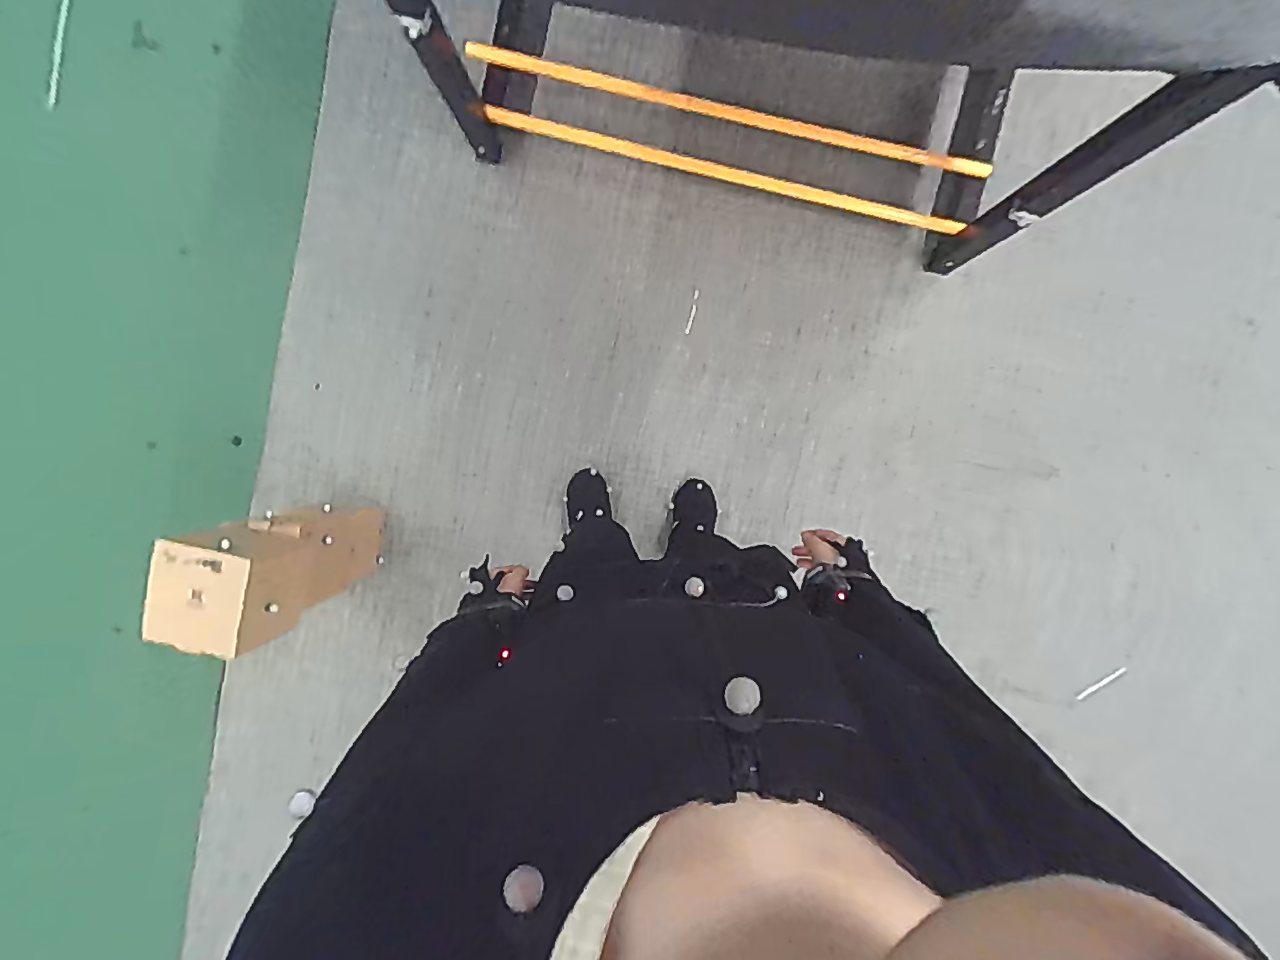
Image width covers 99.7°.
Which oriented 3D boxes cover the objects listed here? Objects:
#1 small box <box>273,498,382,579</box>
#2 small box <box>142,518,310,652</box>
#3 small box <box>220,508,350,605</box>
[{"bbox_3d":[-0.740,0.136,1.295,0.179,0.176,0.168,3,93,2],"label":"small box"},{"bbox_3d":[-0.728,0.179,0.970,0.168,0.176,0.179,13,95,0],"label":"small box"},{"bbox_3d":[-0.735,0.153,1.134,0.168,0.176,0.179,0,94,2],"label":"small box"}]
